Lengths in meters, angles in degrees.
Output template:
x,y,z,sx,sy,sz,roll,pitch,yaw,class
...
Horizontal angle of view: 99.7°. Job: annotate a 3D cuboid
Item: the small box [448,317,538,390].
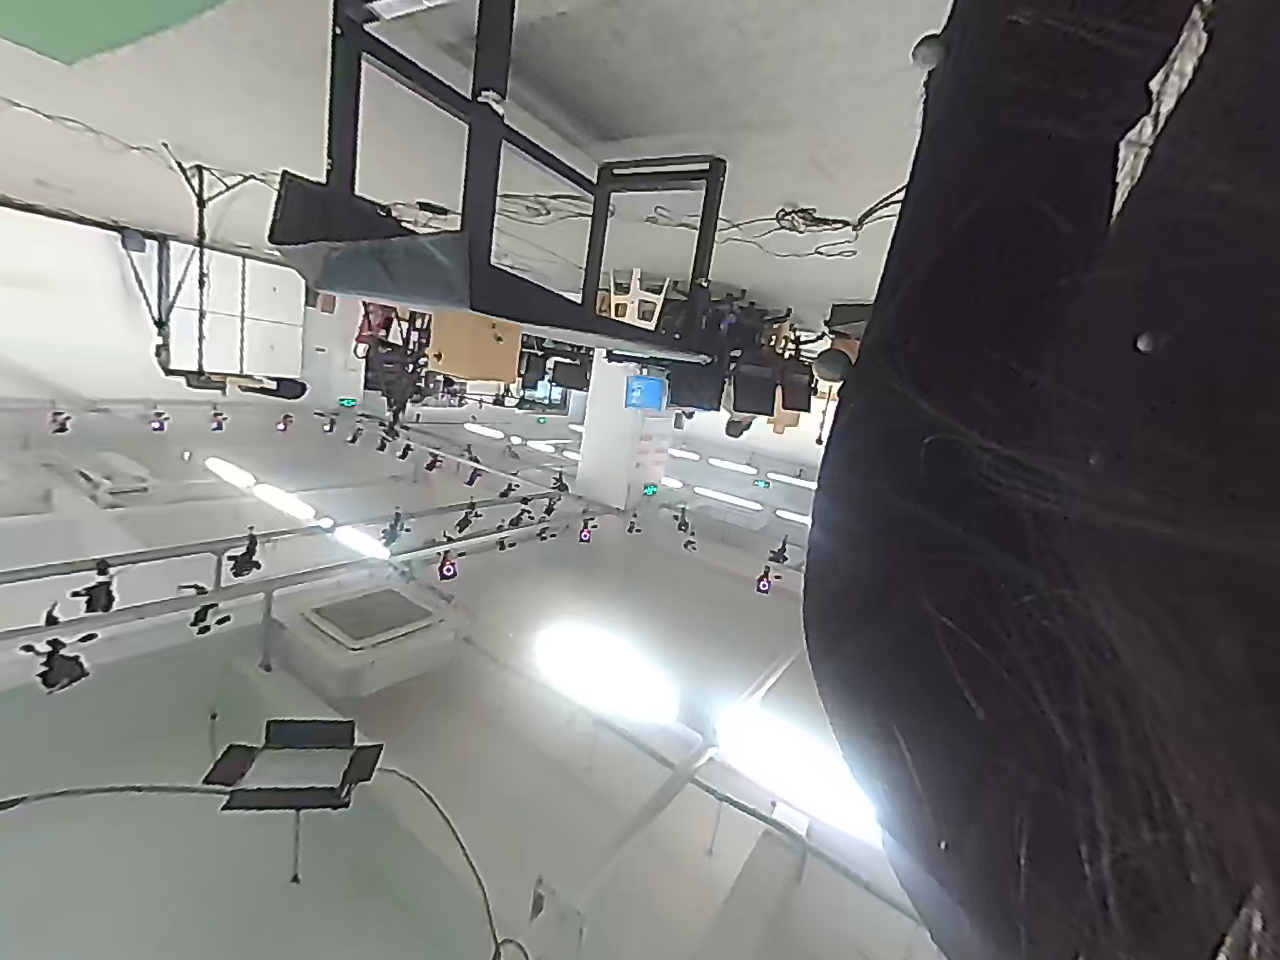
x,y,z,sx,sy,sz,roll,pitch,yaw,class
-0.404,-0.352,1.500,0.179,0.176,0.168,17,-166,32,small box
